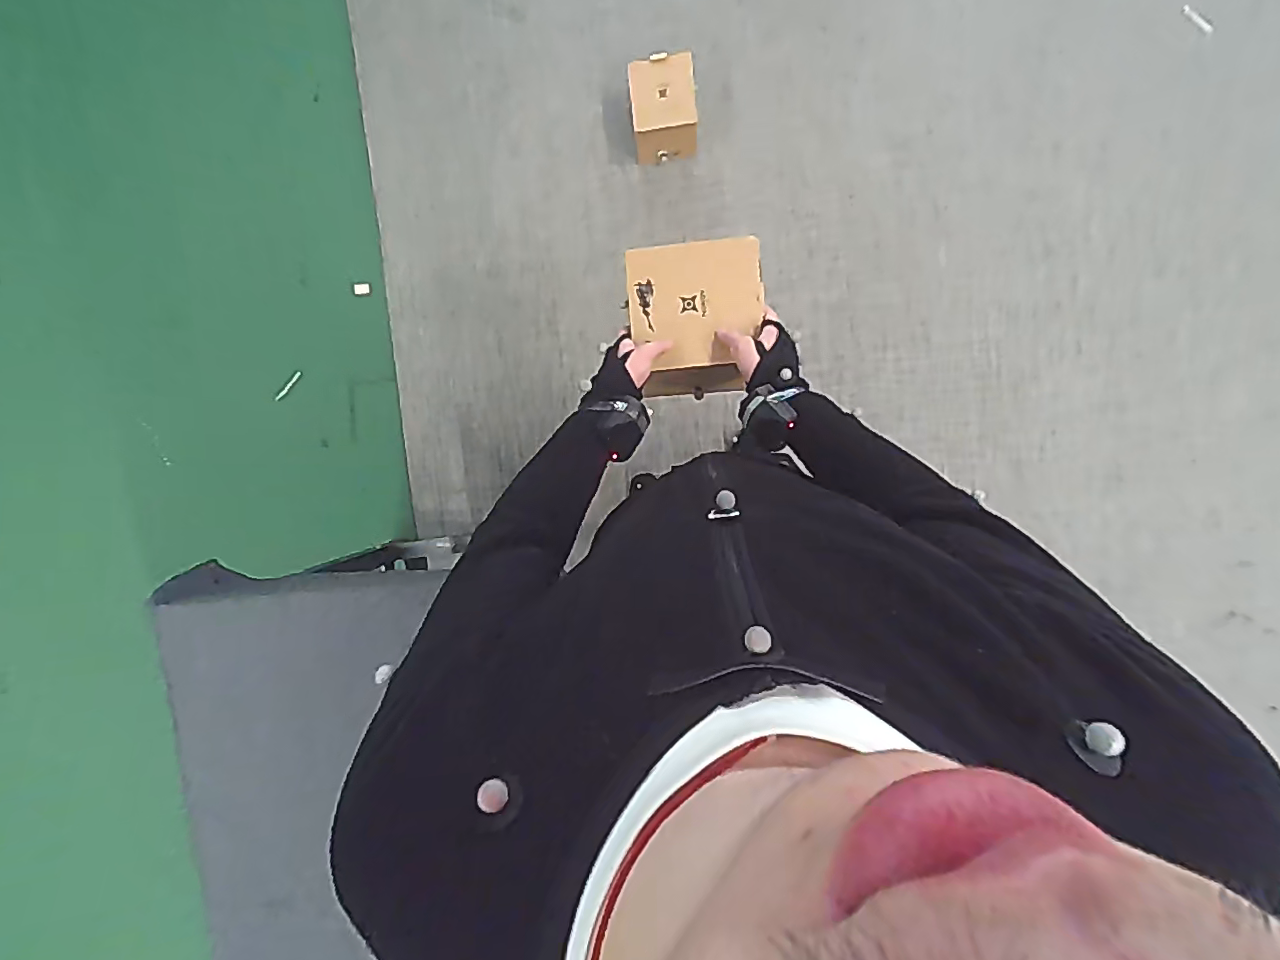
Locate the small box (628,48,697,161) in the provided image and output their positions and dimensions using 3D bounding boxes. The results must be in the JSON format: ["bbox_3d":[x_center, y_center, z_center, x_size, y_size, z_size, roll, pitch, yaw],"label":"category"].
[{"bbox_3d":[0.063,-0.982,1.428,0.168,0.176,0.179,-4,93,6],"label":"small box"}]

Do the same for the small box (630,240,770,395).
[{"bbox_3d":[0.080,-0.223,0.779,0.179,0.176,0.168,-3,87,3],"label":"small box"}]
